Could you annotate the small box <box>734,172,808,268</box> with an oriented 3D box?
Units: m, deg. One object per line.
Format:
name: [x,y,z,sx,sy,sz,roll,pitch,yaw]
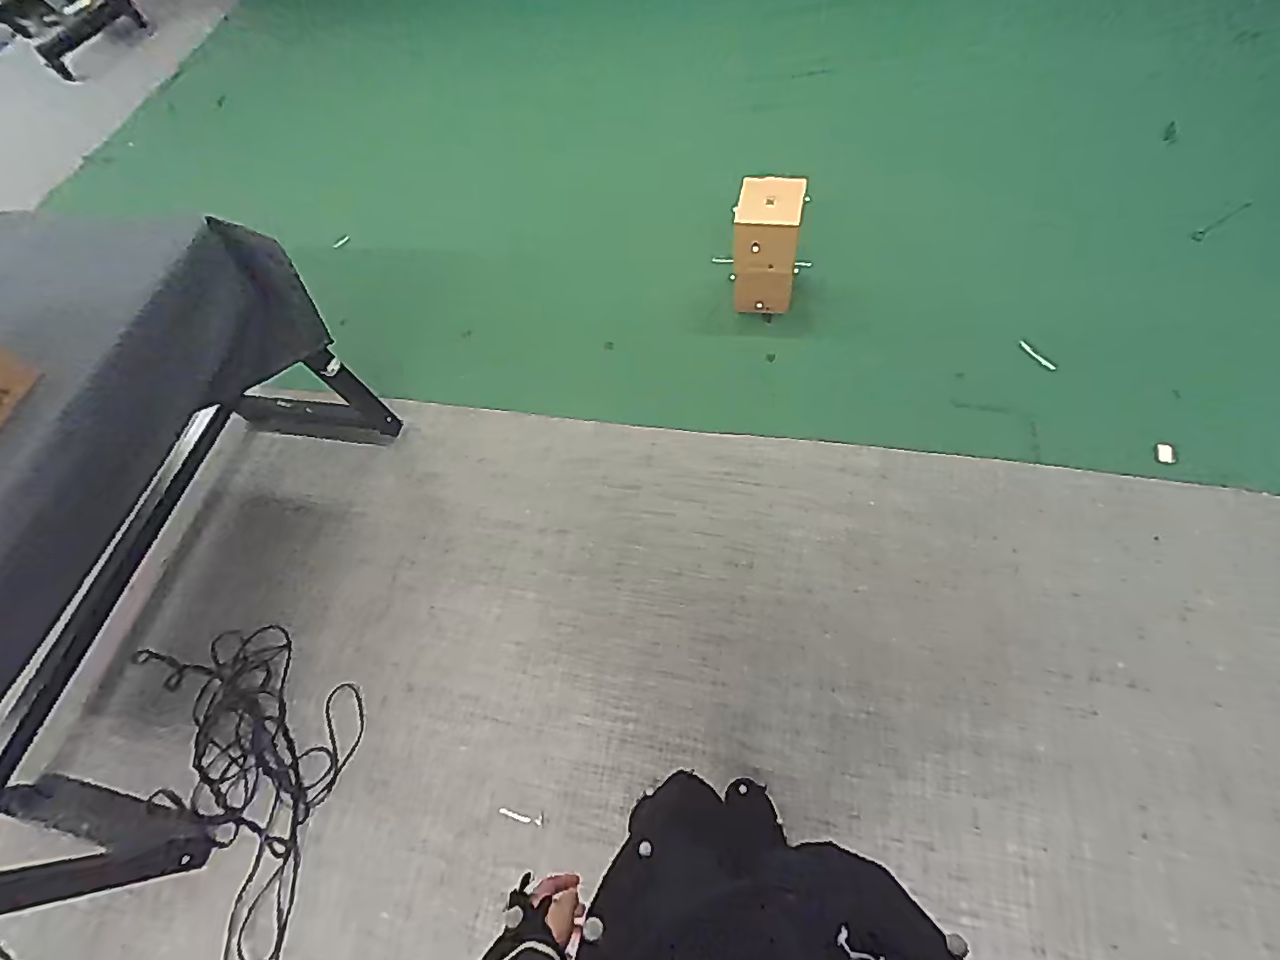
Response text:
small box: [0.352,-0.701,1.465,0.168,0.176,0.179,9,66,14]

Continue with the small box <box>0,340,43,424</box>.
small box: [-1.099,-0.165,0.817,0.179,0.176,0.168,8,67,13]
